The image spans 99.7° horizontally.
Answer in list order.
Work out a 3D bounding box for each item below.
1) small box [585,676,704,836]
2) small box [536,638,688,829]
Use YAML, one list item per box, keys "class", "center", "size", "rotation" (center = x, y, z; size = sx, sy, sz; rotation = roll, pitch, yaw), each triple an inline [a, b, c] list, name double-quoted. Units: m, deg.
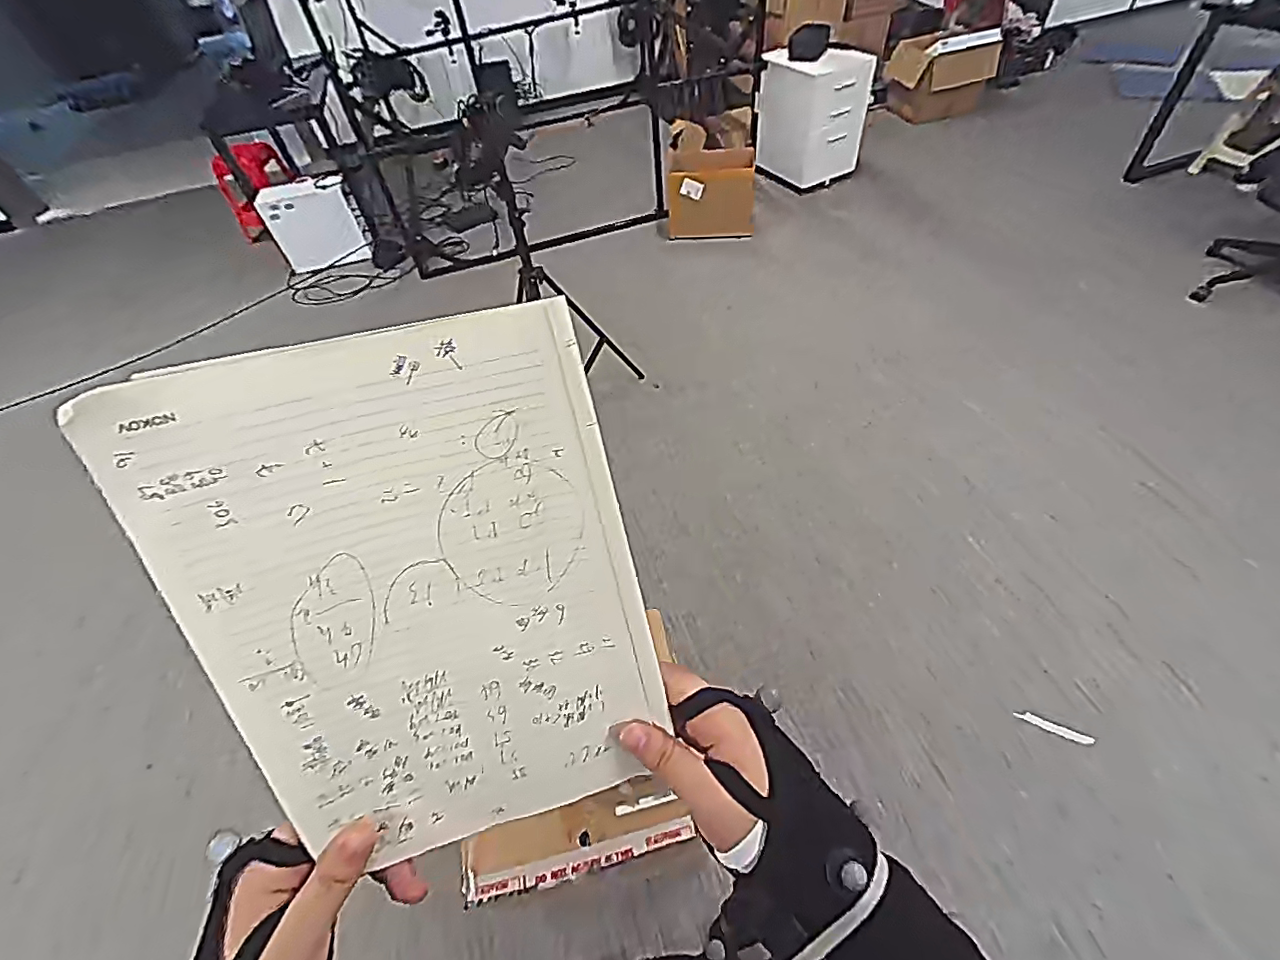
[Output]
- class: "small box"
  center: [-0.011, 0.436, 0.850]
  size: [0.179, 0.176, 0.168]
  rotation: [-14, 51, -7]
- class: "small box"
  center: [-0.038, 0.339, 0.719]
  size: [0.168, 0.176, 0.179]
  rotation: [-11, 52, -5]
